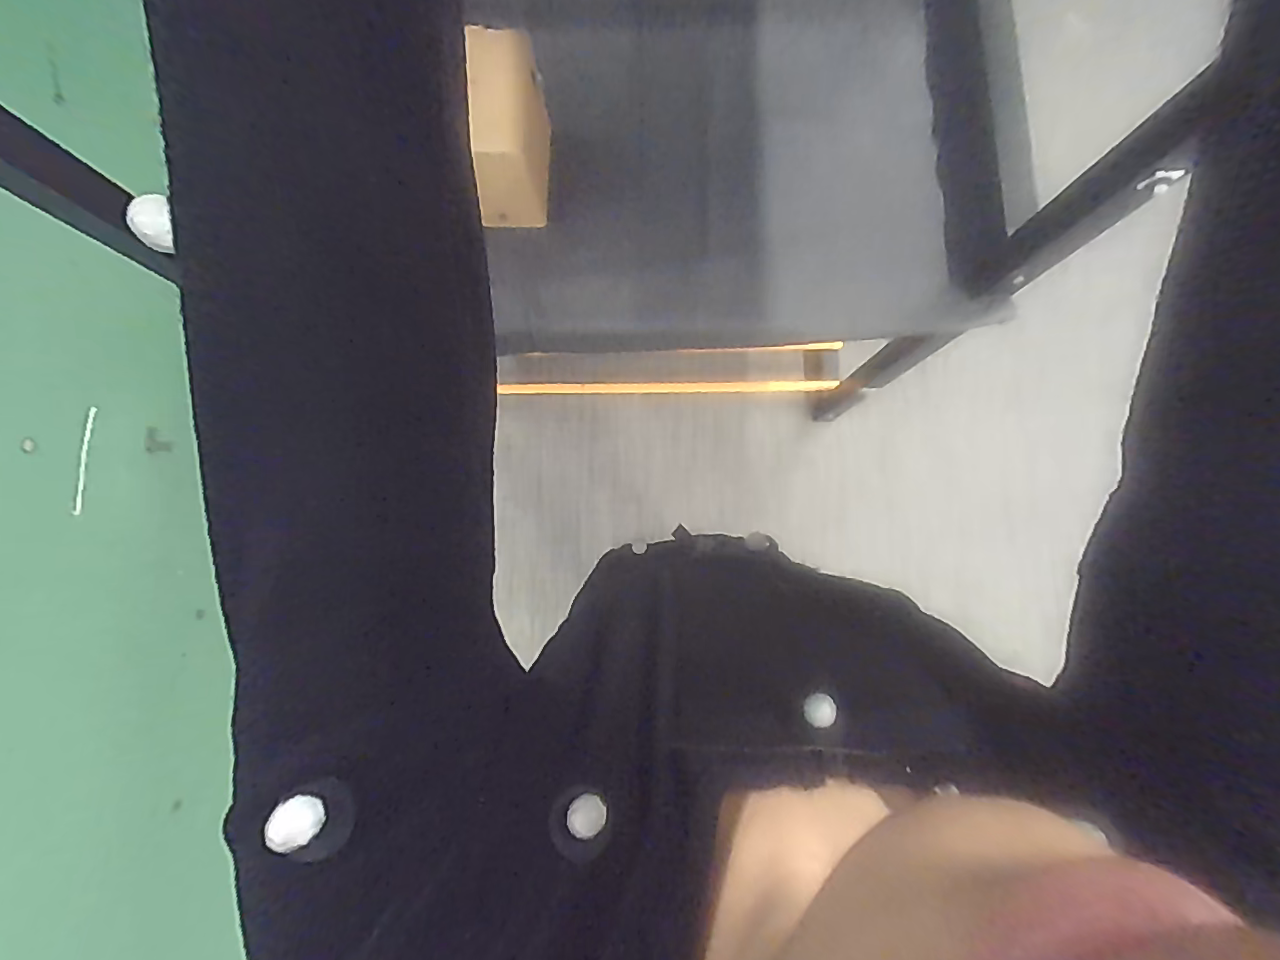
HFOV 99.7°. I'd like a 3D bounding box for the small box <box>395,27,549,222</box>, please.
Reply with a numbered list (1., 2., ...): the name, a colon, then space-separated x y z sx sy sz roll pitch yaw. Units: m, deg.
1. small box: -0.228 -0.493 0.773 0.168 0.176 0.179 1 82 0
